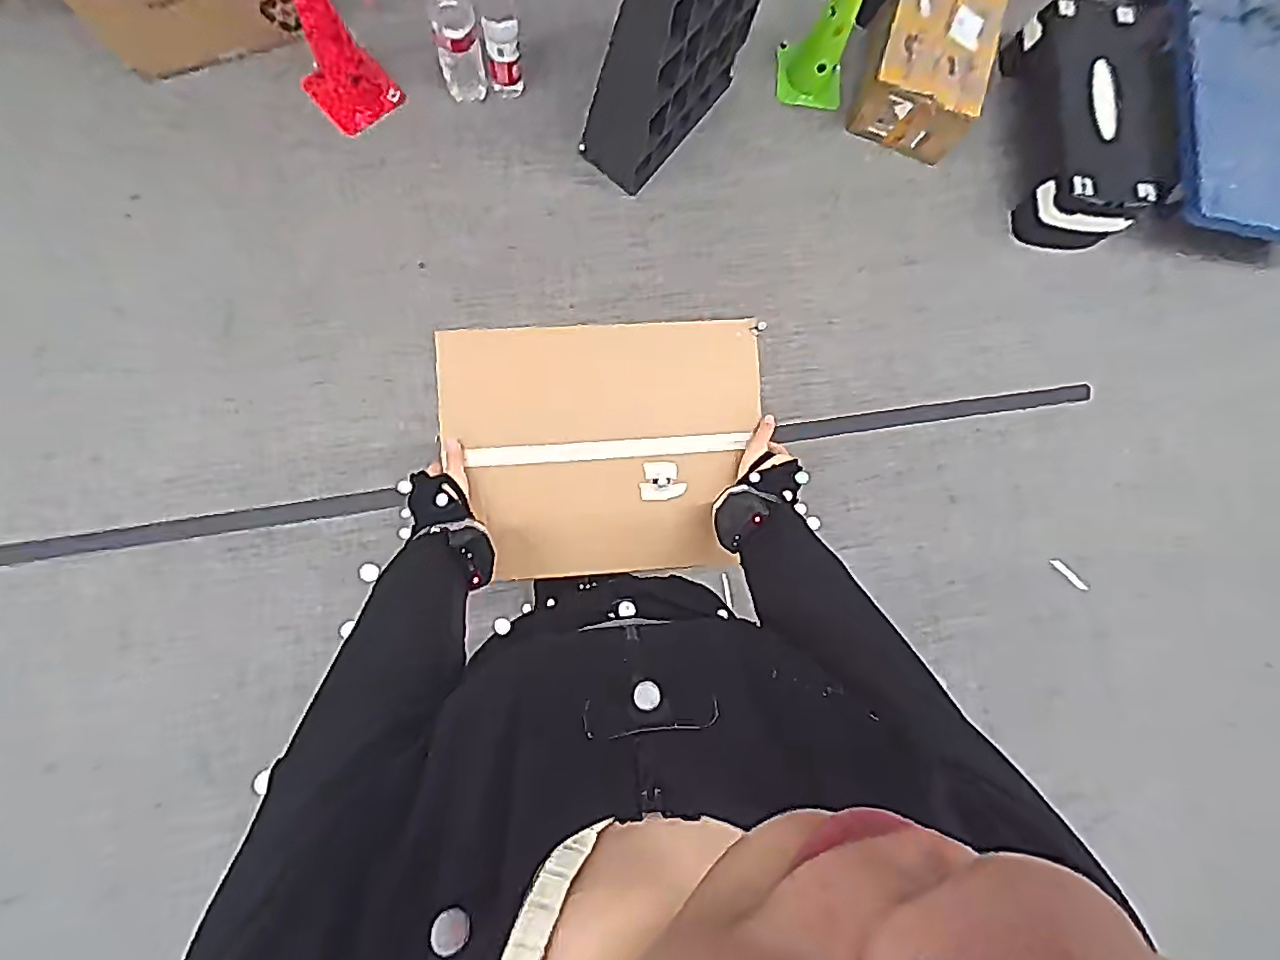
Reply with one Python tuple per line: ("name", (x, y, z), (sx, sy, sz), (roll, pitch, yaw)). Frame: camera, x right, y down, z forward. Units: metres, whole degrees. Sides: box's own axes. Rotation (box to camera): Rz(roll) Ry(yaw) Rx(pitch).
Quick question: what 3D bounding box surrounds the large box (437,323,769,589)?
("large box", (-0.056, -0.034, 0.829), (0.408, 0.320, 0.320), (-4, 91, -5))
